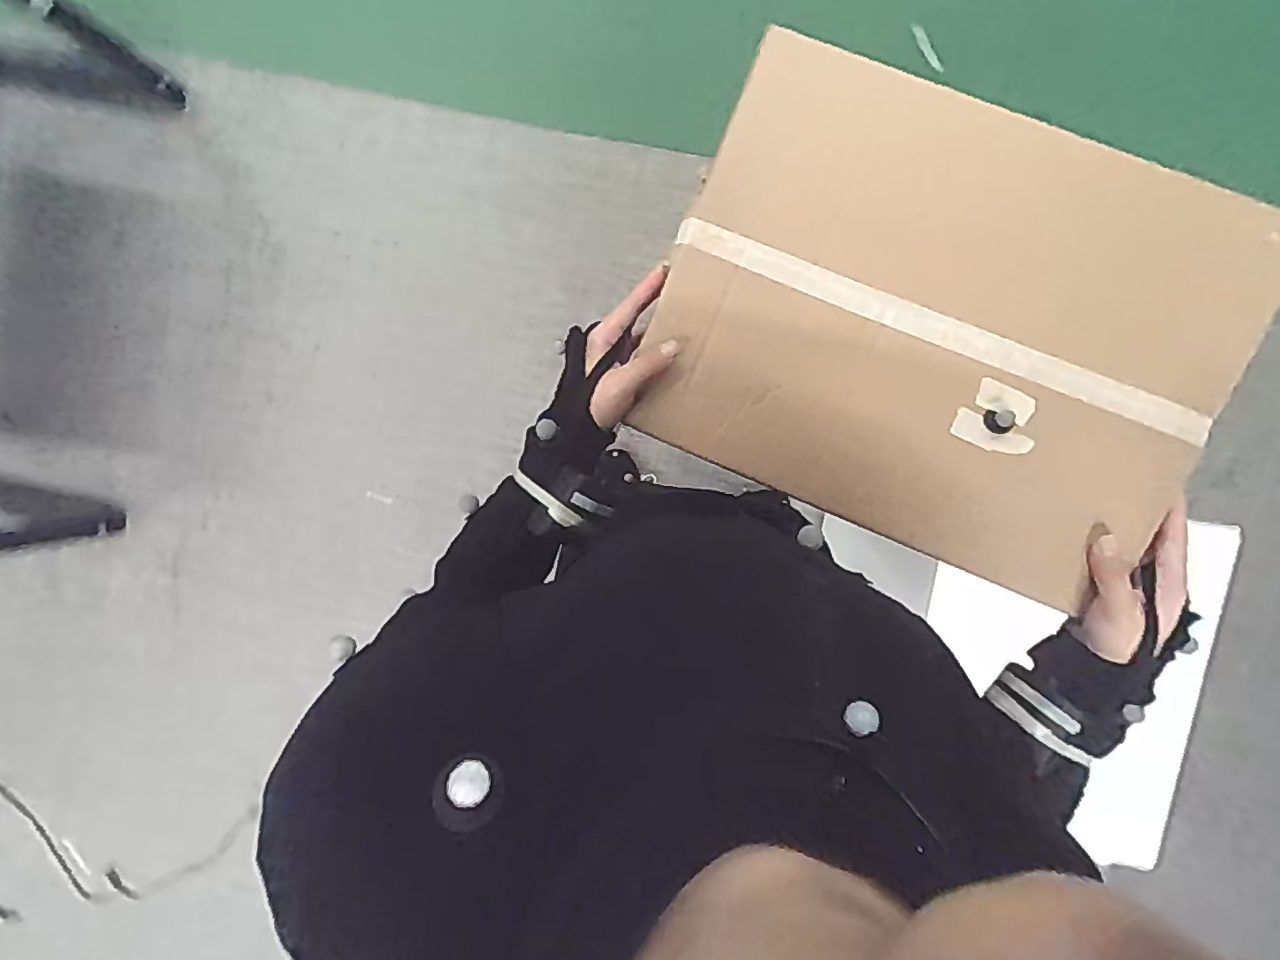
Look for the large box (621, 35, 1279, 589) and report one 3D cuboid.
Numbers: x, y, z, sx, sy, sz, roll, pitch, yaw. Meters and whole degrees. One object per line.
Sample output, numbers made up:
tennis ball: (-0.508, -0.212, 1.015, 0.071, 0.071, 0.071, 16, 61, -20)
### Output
large box: (0.231, -0.137, 0.558, 0.408, 0.320, 0.320, 22, 97, 3)
